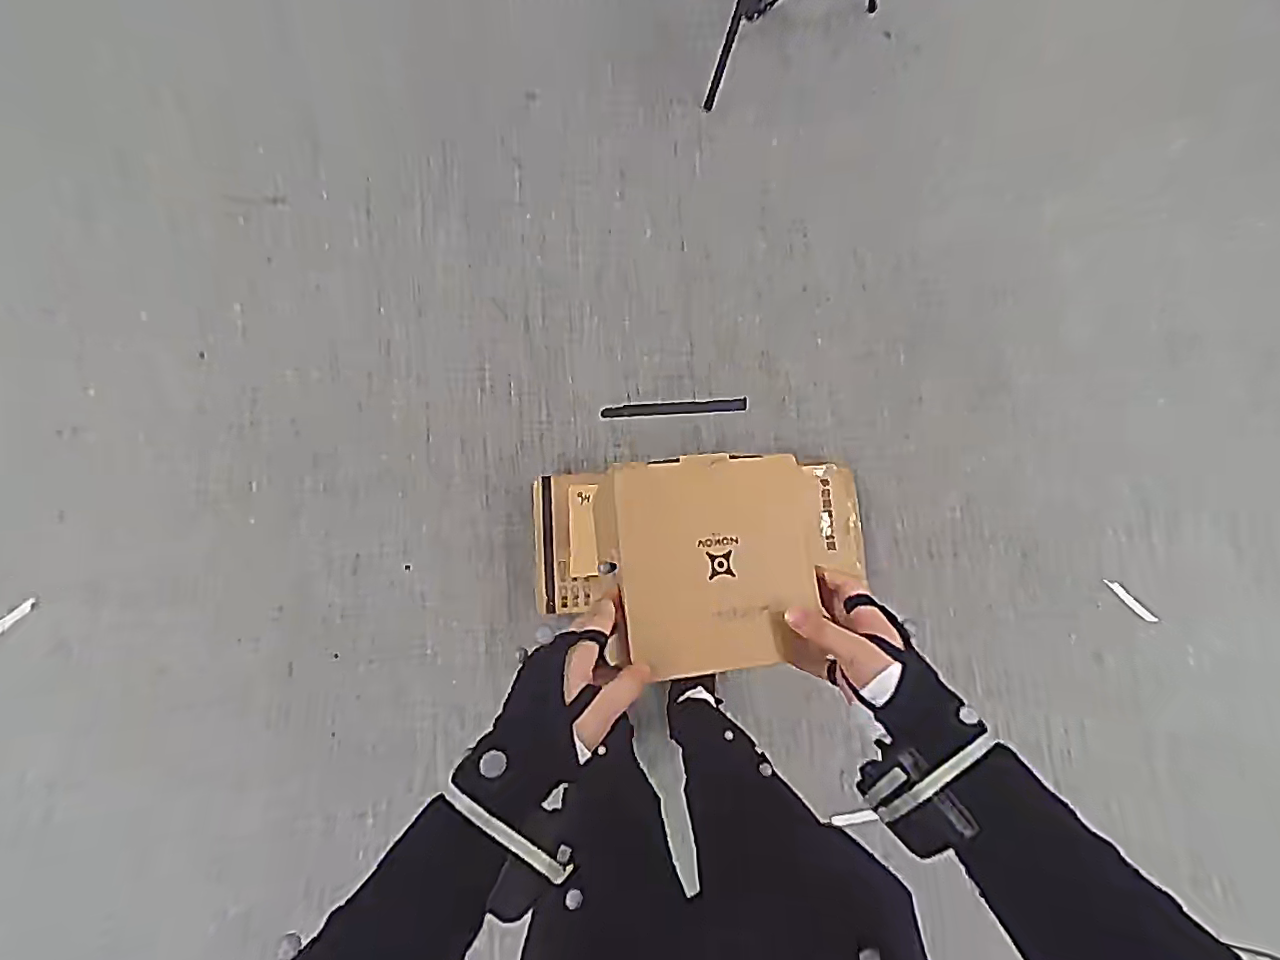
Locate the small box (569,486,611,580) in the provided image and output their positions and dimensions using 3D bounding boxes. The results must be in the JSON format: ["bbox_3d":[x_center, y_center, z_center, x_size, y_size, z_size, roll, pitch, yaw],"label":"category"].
[{"bbox_3d":[-0.057,0.107,1.097,0.168,0.176,0.179,-1,83,-6],"label":"small box"}]

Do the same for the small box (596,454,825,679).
[{"bbox_3d":[0.052,0.082,0.529,0.168,0.176,0.179,-5,80,-12],"label":"small box"}]
